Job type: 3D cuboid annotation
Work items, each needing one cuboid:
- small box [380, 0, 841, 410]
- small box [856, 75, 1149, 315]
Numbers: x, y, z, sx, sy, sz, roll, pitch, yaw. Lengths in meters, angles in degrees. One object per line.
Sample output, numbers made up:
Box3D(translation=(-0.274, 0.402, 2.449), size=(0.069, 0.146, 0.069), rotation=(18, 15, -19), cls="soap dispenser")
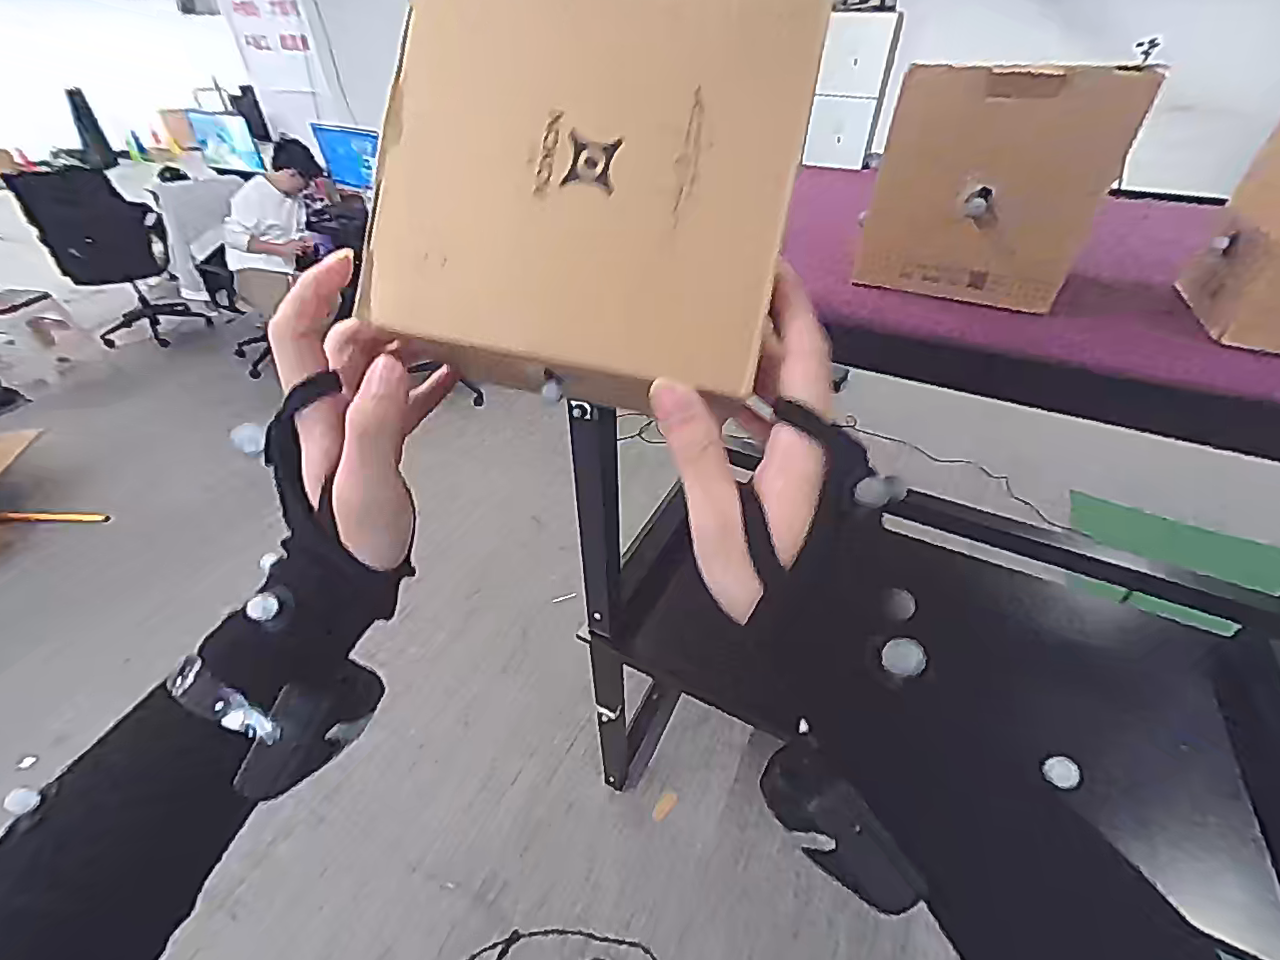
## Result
Box3D(translation=(-0.010, -0.142, 0.314), size=(0.179, 0.168, 0.176), rotation=(12, 2, 4), cls="small box")
Box3D(translation=(0.315, -0.269, 0.504), size=(0.168, 0.176, 0.179), rotation=(19, 41, 21), cls="small box")
